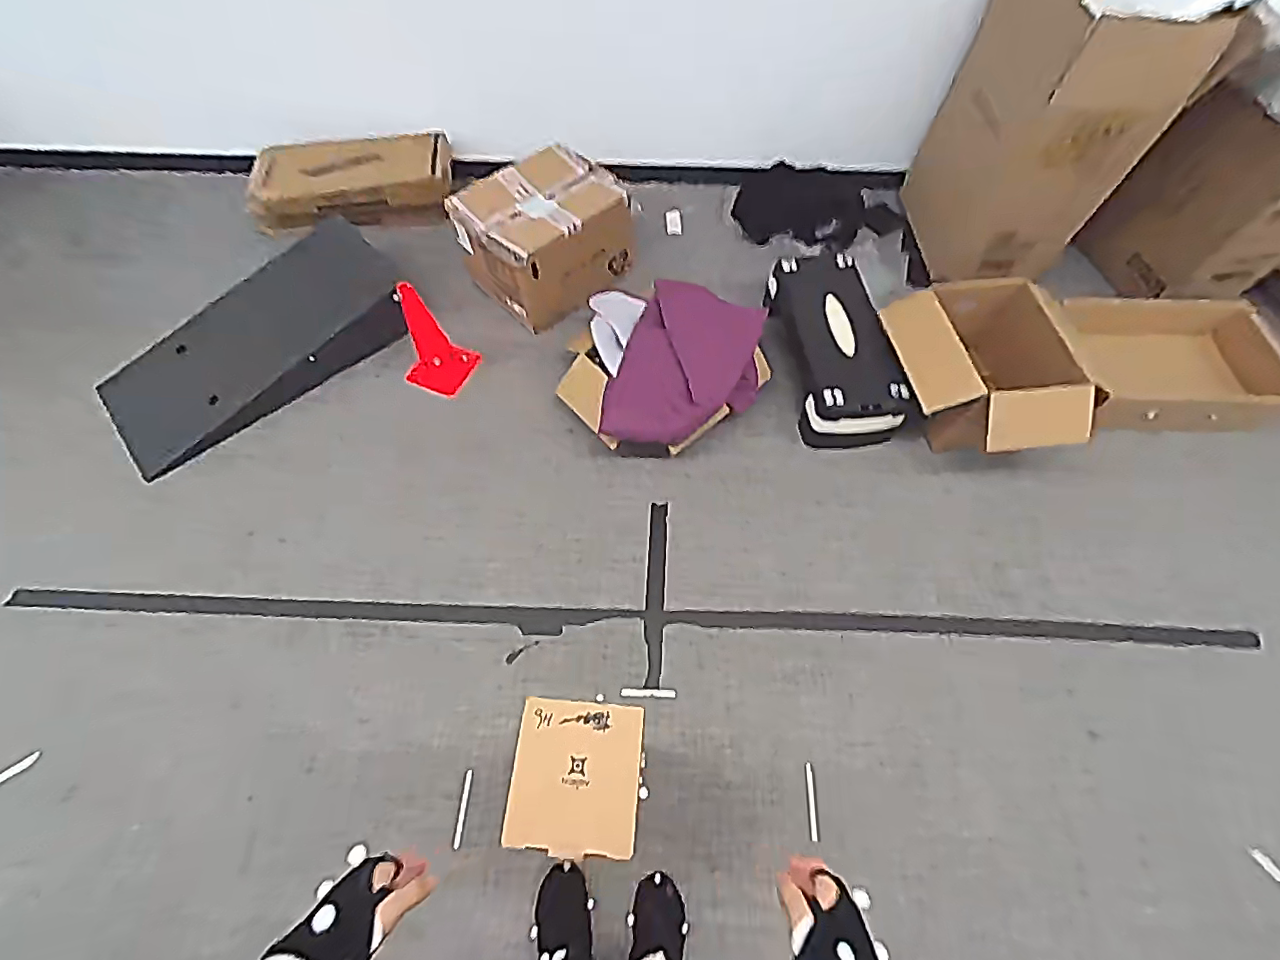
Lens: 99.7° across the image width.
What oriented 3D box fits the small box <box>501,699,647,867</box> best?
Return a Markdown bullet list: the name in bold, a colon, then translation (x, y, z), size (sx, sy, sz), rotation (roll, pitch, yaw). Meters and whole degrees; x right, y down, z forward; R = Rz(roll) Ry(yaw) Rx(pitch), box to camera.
- **small box**: translation (-0.080, 0.418, 0.760), size (0.168, 0.176, 0.179), rotation (5, 61, 3)
